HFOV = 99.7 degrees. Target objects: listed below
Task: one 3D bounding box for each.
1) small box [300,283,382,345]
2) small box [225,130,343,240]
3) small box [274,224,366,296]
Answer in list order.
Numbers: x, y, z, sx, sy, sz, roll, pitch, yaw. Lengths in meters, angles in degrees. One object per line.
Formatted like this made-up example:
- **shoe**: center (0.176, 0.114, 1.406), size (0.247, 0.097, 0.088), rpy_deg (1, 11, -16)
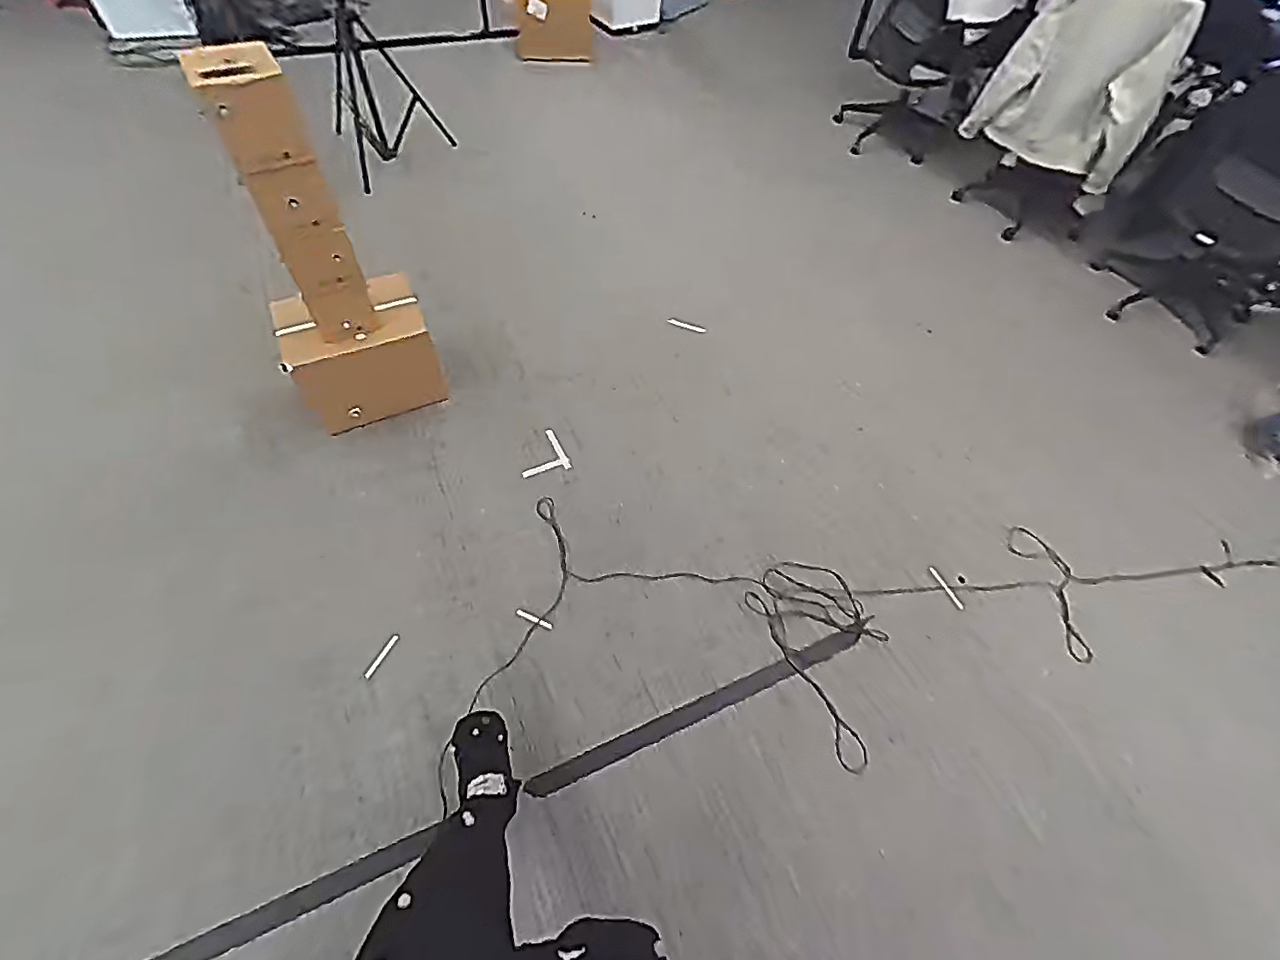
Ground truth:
- **small box**: center (-0.877, -0.526, 1.577), size (0.168, 0.176, 0.179), rpy_deg (-22, 62, -18)
- **small box**: center (-0.849, -0.704, 1.304), size (0.168, 0.176, 0.179), rpy_deg (-26, 63, -22)
- **small box**: center (-0.857, -0.612, 1.441), size (0.168, 0.176, 0.179), rpy_deg (-23, 61, -20)
